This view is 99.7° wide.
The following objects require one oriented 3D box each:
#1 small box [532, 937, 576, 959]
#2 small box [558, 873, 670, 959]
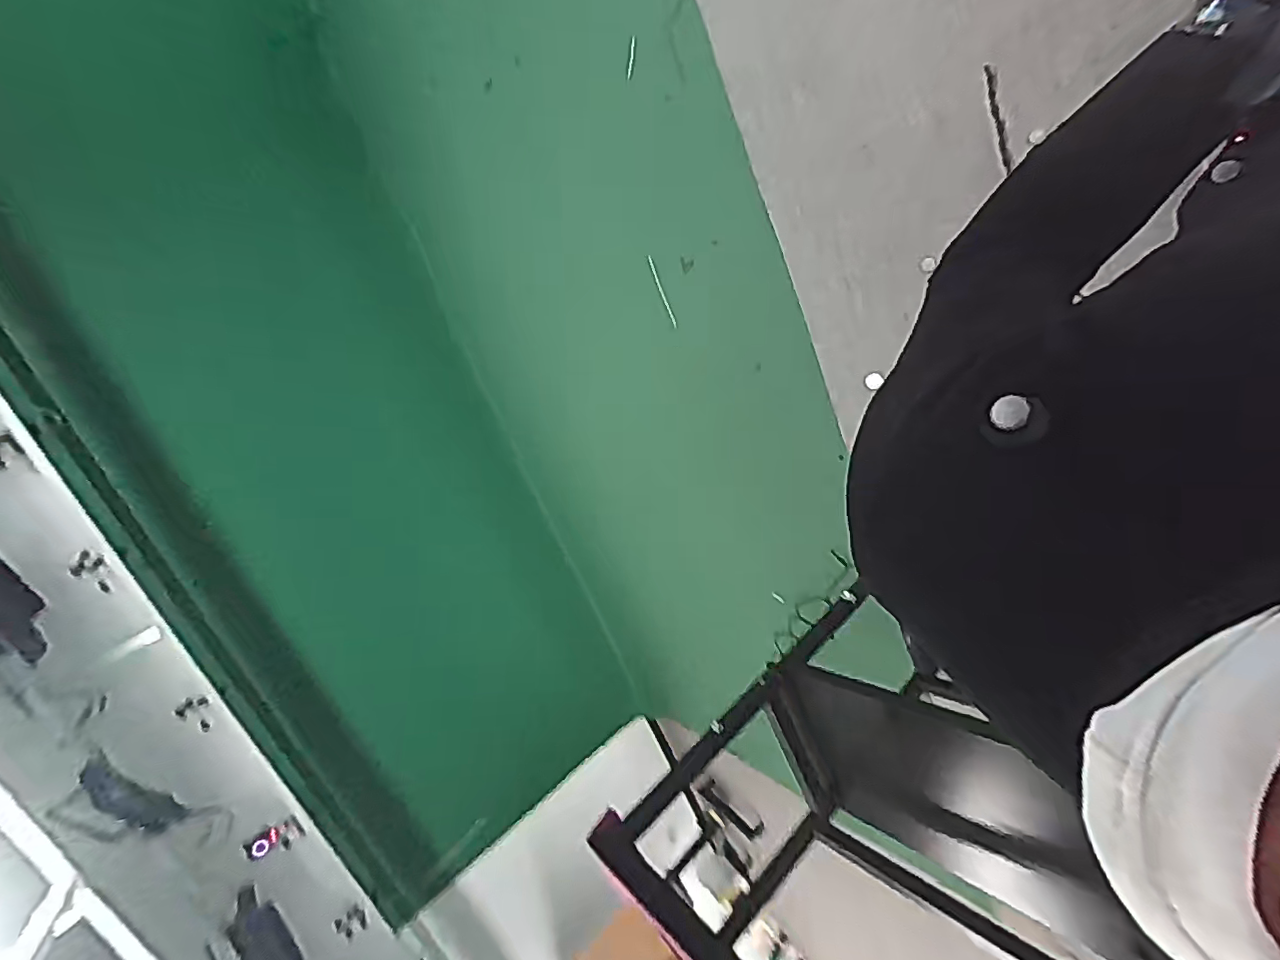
[{"bbox_3d":[-0.170,1.146,1.161,0.179,0.176,0.168,-7,114,55],"label":"small box"},{"bbox_3d":[-0.053,1.068,1.245,0.179,0.176,0.168,4,123,54],"label":"small box"}]
